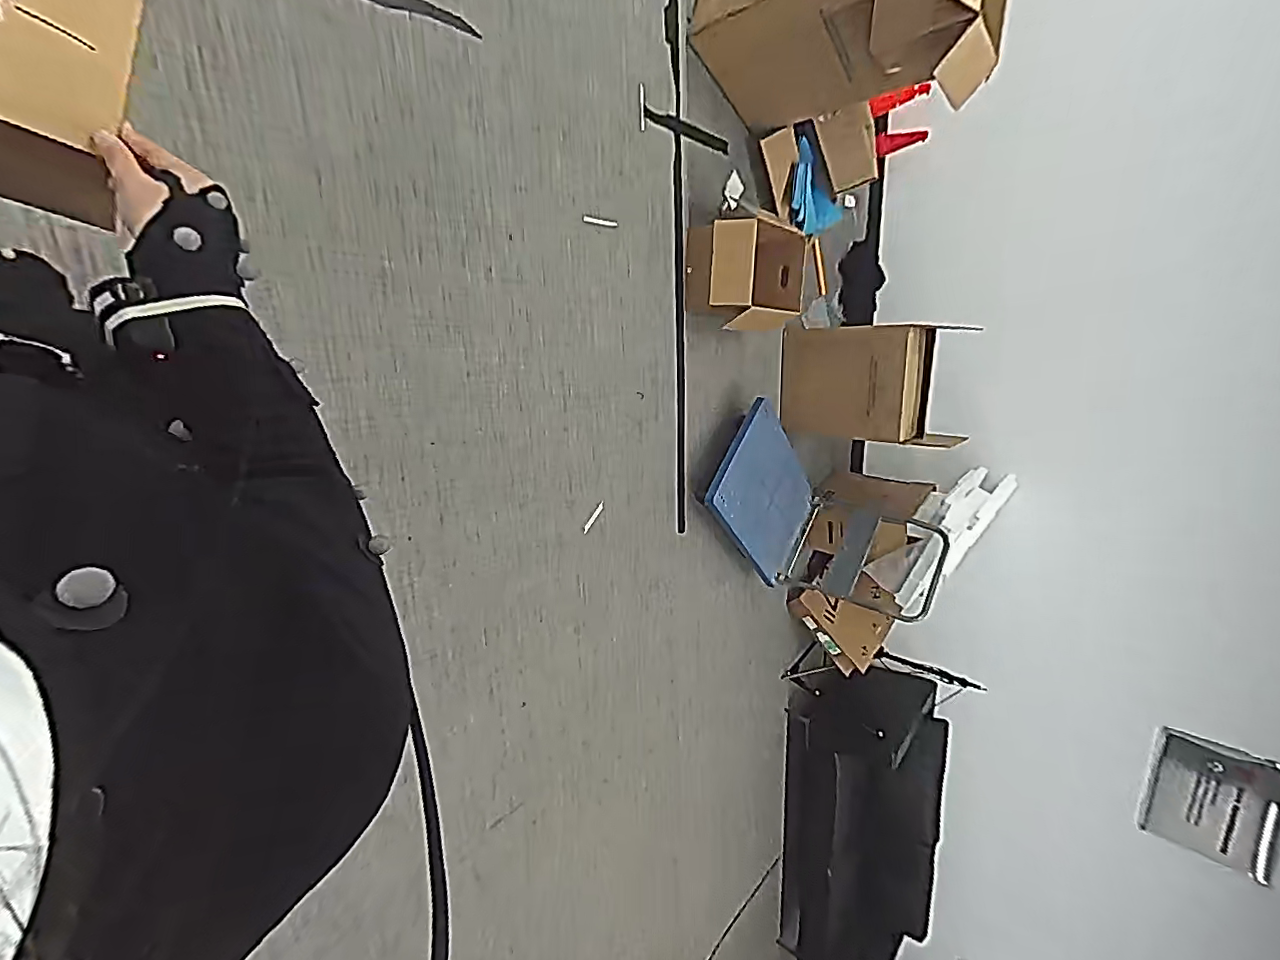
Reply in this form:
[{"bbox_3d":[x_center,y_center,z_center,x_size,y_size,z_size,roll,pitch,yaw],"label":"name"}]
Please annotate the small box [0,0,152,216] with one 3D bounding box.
[{"bbox_3d":[-0.514,-0.339,0.423,0.179,0.176,0.168,10,84,-45],"label":"small box"}]
